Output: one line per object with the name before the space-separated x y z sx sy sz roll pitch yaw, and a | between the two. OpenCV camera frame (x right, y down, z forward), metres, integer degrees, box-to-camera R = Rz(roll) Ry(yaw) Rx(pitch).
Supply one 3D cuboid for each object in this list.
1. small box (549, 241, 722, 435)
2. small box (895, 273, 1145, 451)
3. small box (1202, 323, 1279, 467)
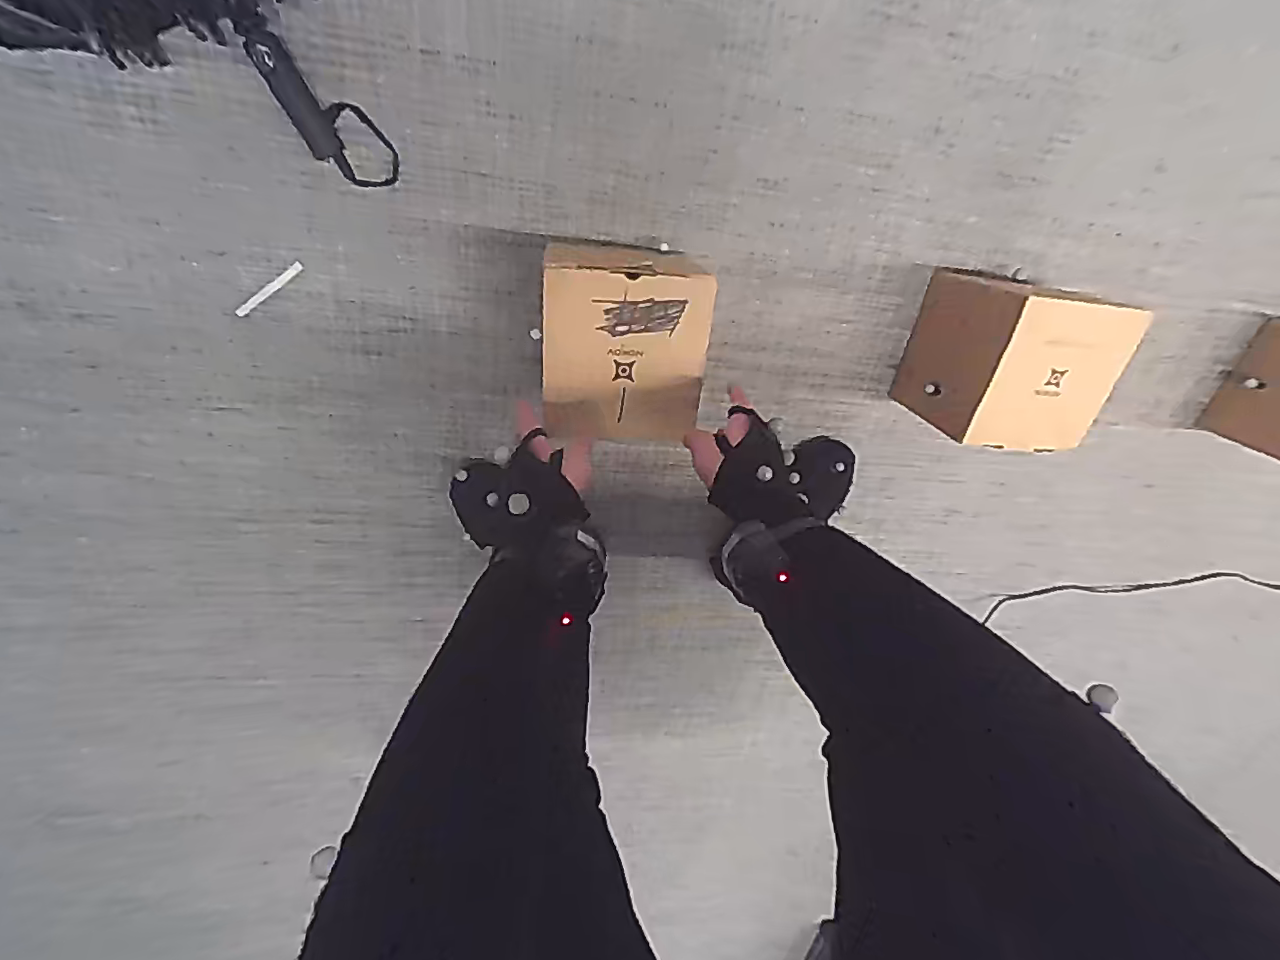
small box | -0.018 -0.167 0.618 0.168 0.176 0.179 2 120 -8
small box | 0.462 -0.155 0.695 0.168 0.176 0.179 3 118 -10
small box | 0.999 -0.113 0.788 0.168 0.176 0.179 5 119 -10
